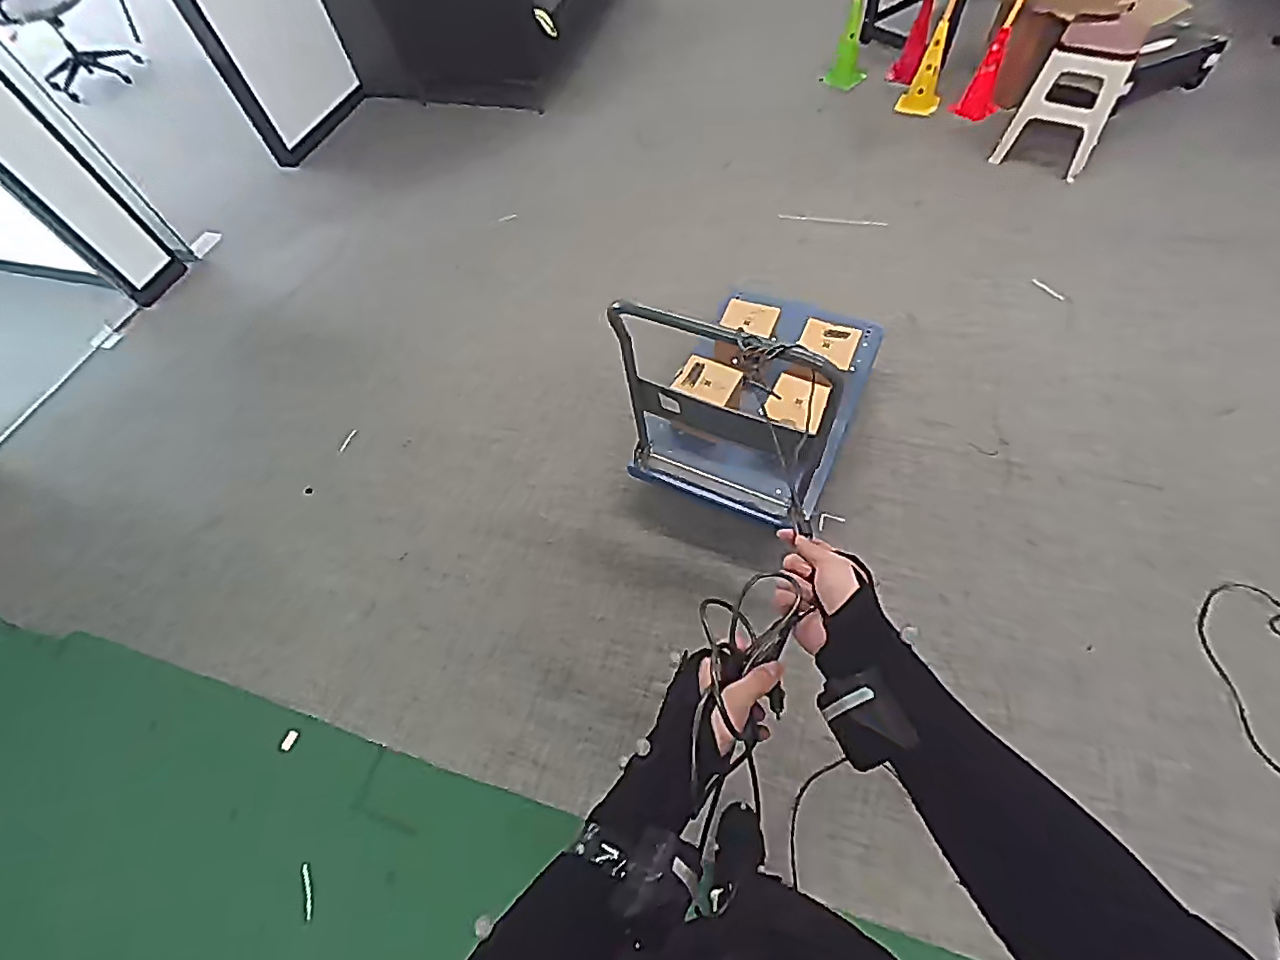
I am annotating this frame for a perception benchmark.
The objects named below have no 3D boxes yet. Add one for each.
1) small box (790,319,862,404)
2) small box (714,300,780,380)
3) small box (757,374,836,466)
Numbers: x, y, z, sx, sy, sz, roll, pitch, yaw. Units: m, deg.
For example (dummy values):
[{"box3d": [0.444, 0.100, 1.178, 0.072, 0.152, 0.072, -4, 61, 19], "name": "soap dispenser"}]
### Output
[{"box3d": [0.576, -0.369, 1.700, 0.168, 0.176, 0.179, 20, 64, 18], "name": "small box"}, {"box3d": [0.349, -0.457, 1.779, 0.168, 0.176, 0.179, 19, 63, 16], "name": "small box"}, {"box3d": [0.457, -0.175, 1.601, 0.168, 0.176, 0.179, 23, 65, 19], "name": "small box"}]
